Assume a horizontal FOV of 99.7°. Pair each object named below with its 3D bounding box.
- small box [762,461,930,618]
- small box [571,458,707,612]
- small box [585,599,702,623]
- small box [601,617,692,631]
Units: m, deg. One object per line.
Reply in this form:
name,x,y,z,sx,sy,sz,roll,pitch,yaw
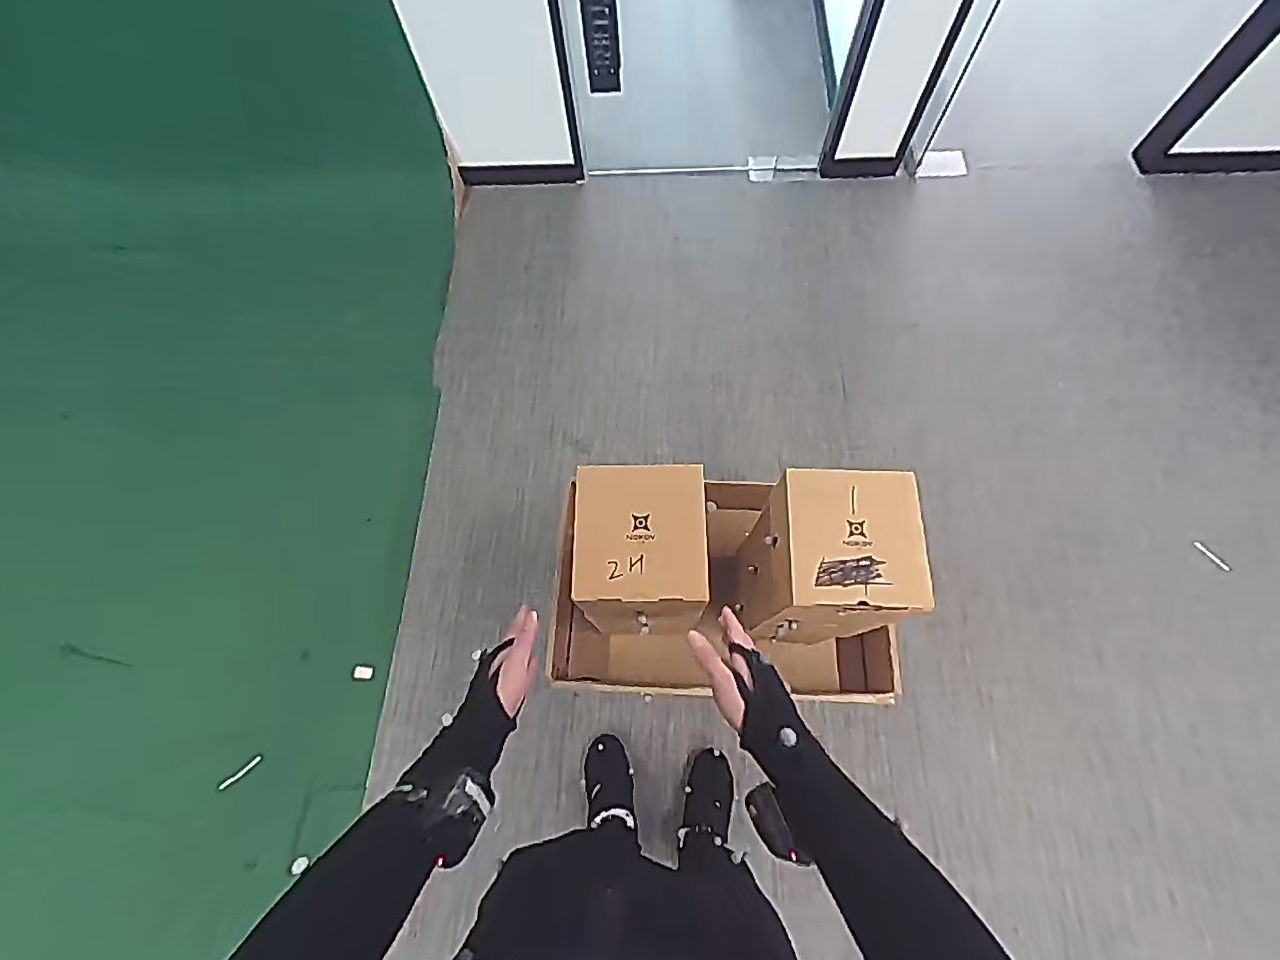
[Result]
small box,0.263,0.088,0.734,0.168,0.176,0.179,2,68,2
small box,0.002,0.081,0.745,0.168,0.176,0.179,0,70,2
small box,0.006,0.144,0.898,0.179,0.176,0.168,-1,69,1
small box,0.010,0.202,1.052,0.179,0.176,0.168,1,69,1
